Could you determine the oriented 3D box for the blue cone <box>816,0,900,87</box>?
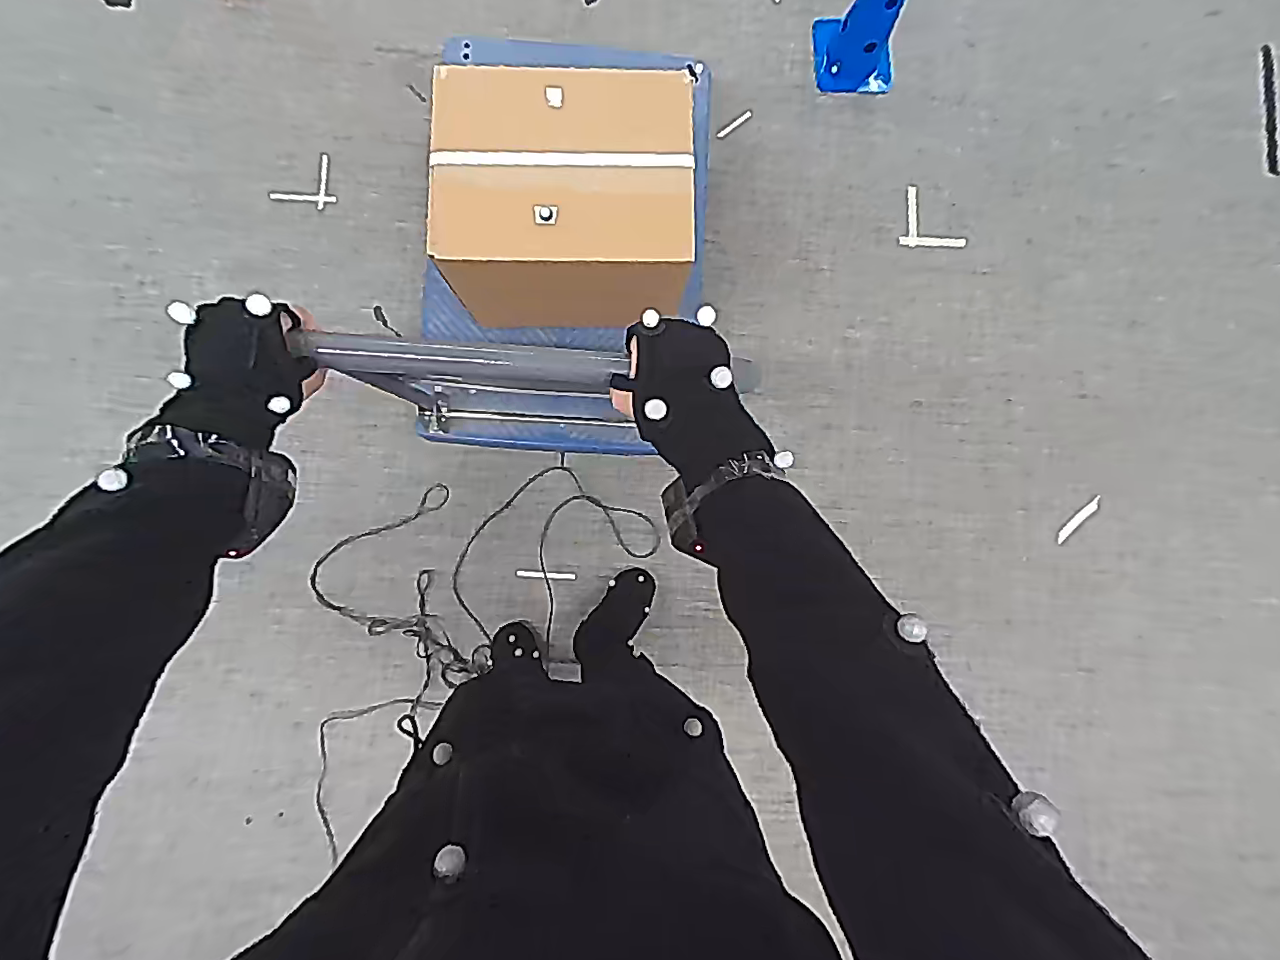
[{"bbox_3d":[0.559,-1.113,1.225,0.193,0.380,0.192,-1,85,-4],"label":"blue cone"}]
